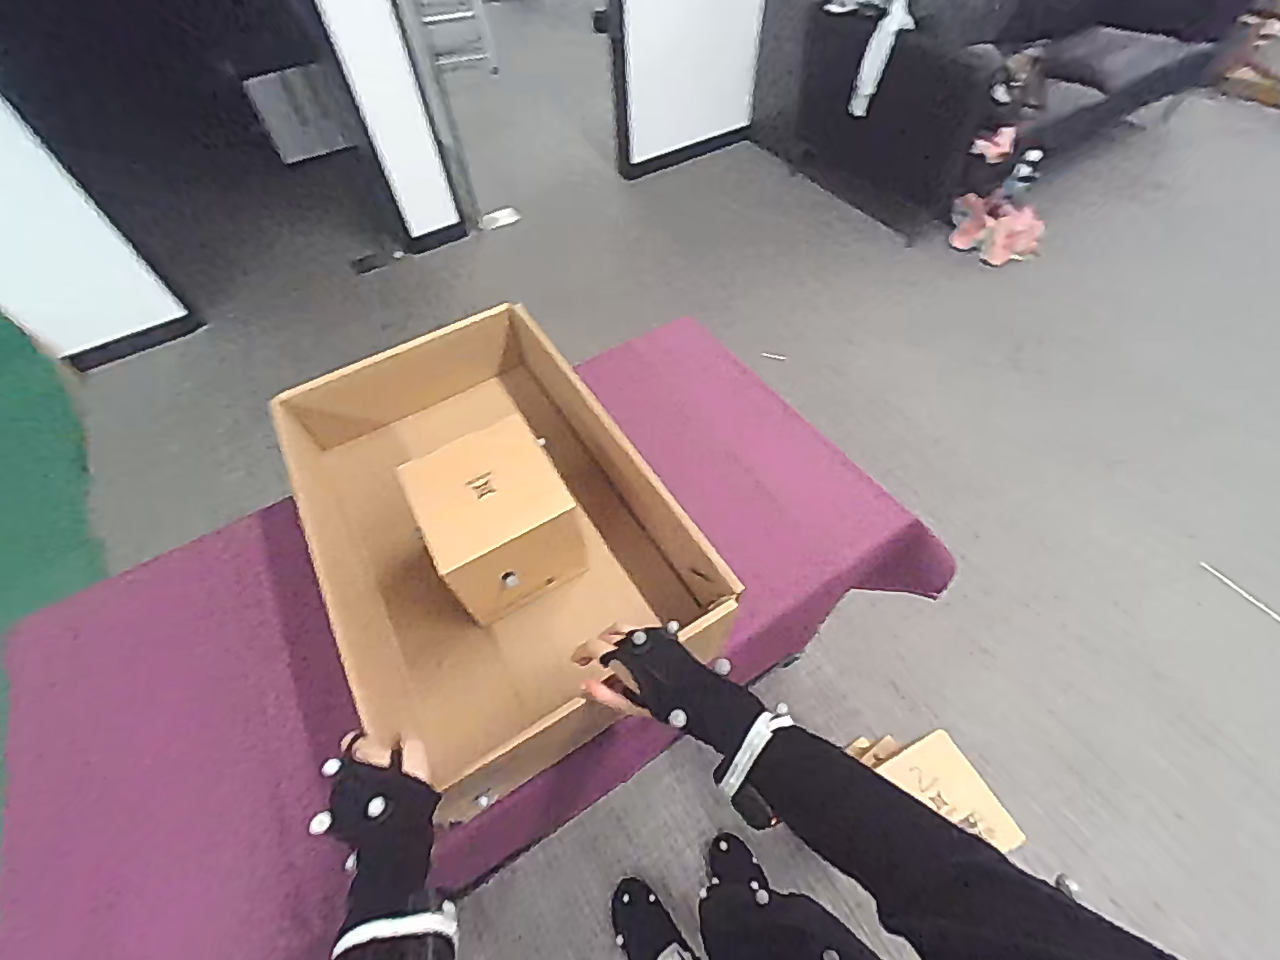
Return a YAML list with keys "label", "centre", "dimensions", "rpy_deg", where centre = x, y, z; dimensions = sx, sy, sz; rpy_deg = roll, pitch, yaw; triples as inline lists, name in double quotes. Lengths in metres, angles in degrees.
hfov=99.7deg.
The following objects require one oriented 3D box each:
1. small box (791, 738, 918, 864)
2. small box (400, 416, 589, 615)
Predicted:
- label: "small box"
  centre: [0.459, 0.703, 1.187]
  dimensions: [0.179, 0.176, 0.168]
  rpy_deg: [-30, 59, -16]
- label: "small box"
  centre: [-0.181, 0.056, 0.712]
  dimensions: [0.168, 0.176, 0.179]
  rpy_deg: [-28, 57, -15]
